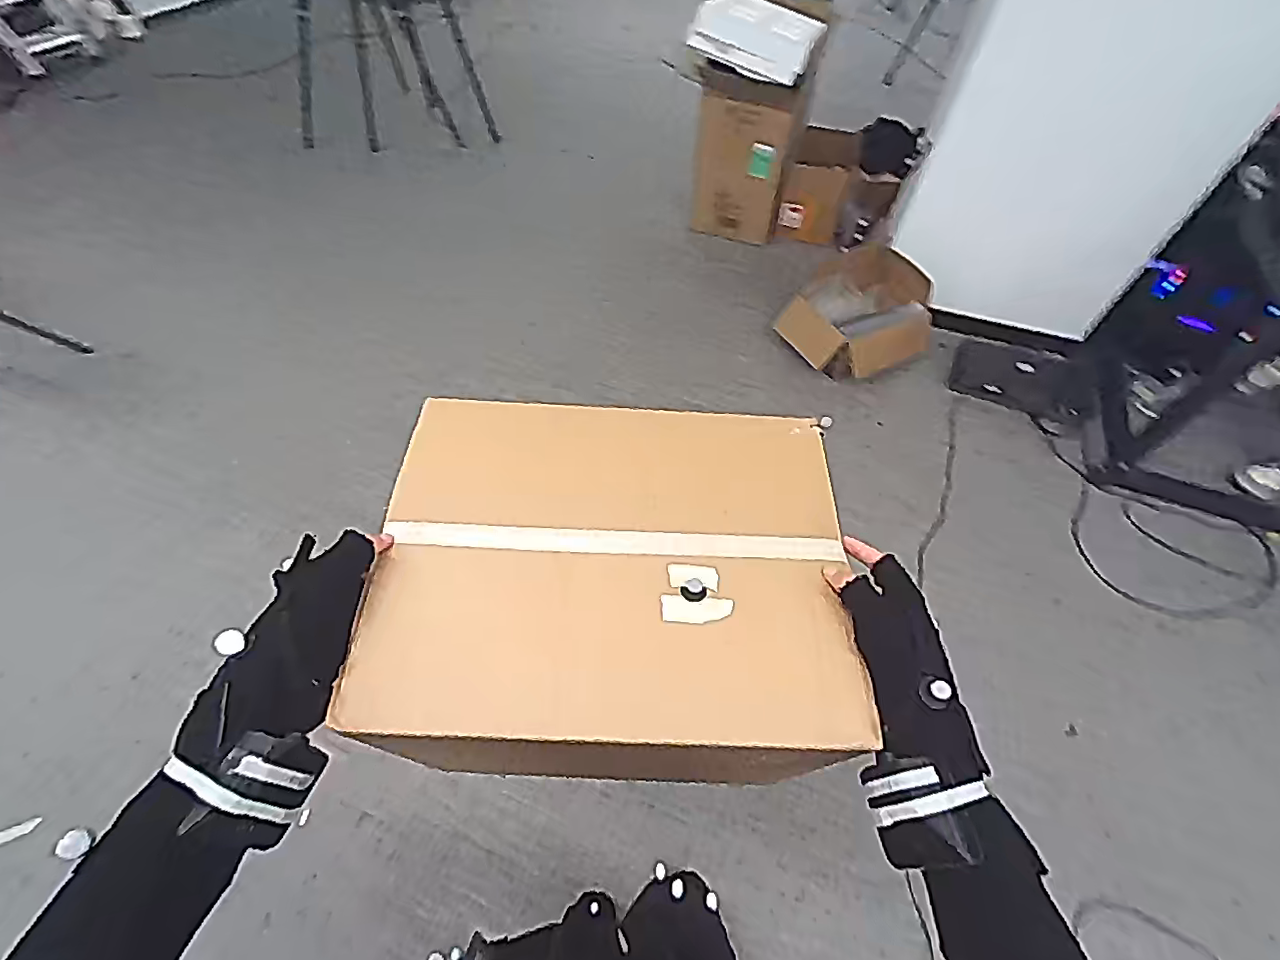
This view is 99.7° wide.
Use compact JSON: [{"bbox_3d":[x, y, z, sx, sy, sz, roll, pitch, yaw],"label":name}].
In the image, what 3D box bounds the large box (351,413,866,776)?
[{"bbox_3d":[-0.030,0.145,0.616,0.408,0.320,0.320,3,56,-2],"label":"large box"}]
